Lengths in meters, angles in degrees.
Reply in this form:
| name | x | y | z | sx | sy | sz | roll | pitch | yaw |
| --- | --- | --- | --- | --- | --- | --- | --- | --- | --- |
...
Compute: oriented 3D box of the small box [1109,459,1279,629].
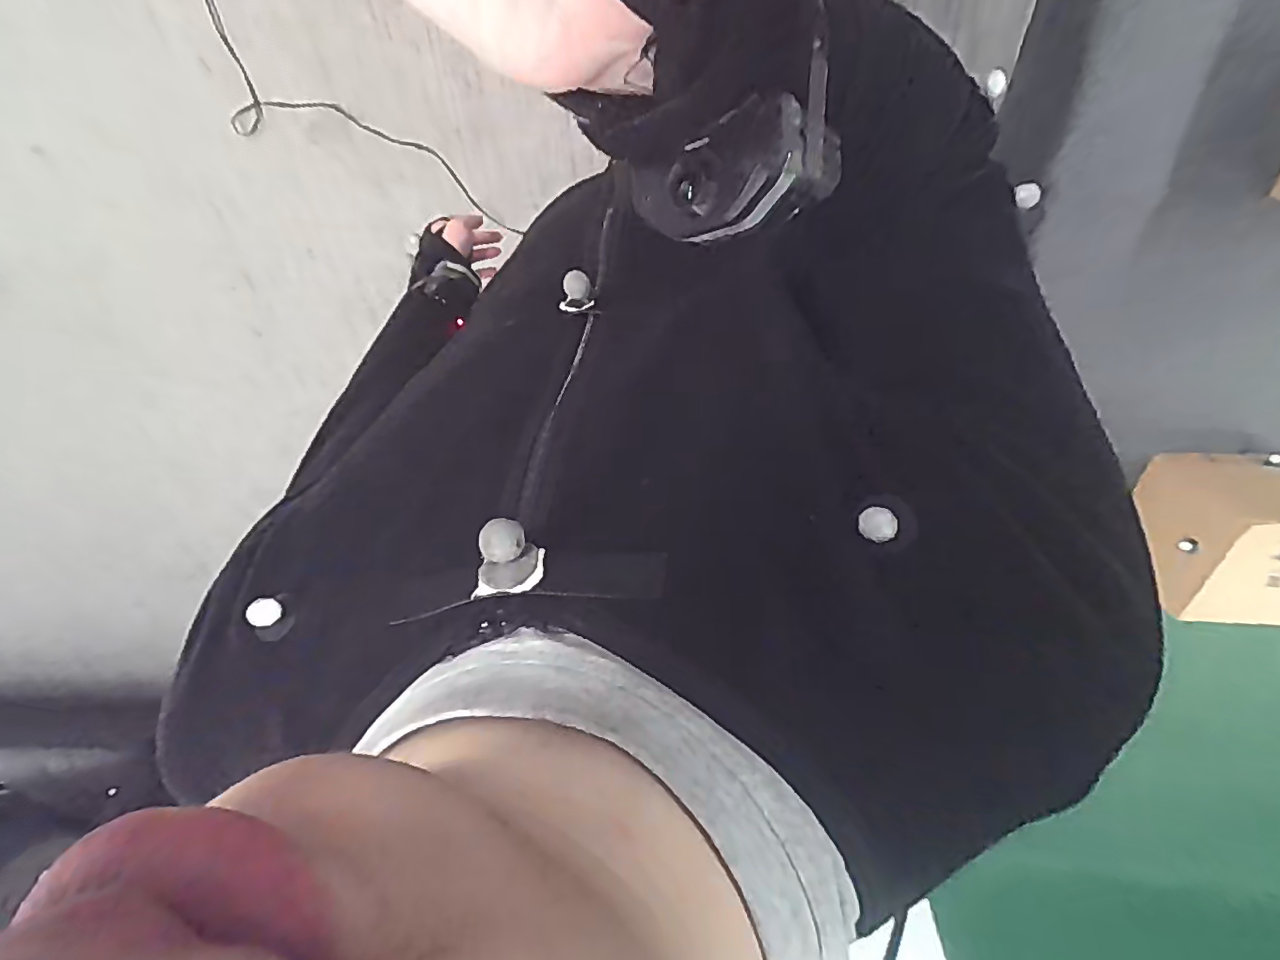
| name | x | y | z | sx | sy | sz | roll | pitch | yaw |
| --- | --- | --- | --- | --- | --- | --- | --- | --- | --- |
| small box | 0.818 | 0.083 | 0.752 | 0.168 | 0.176 | 0.179 | 2 | 124 | 5 |
